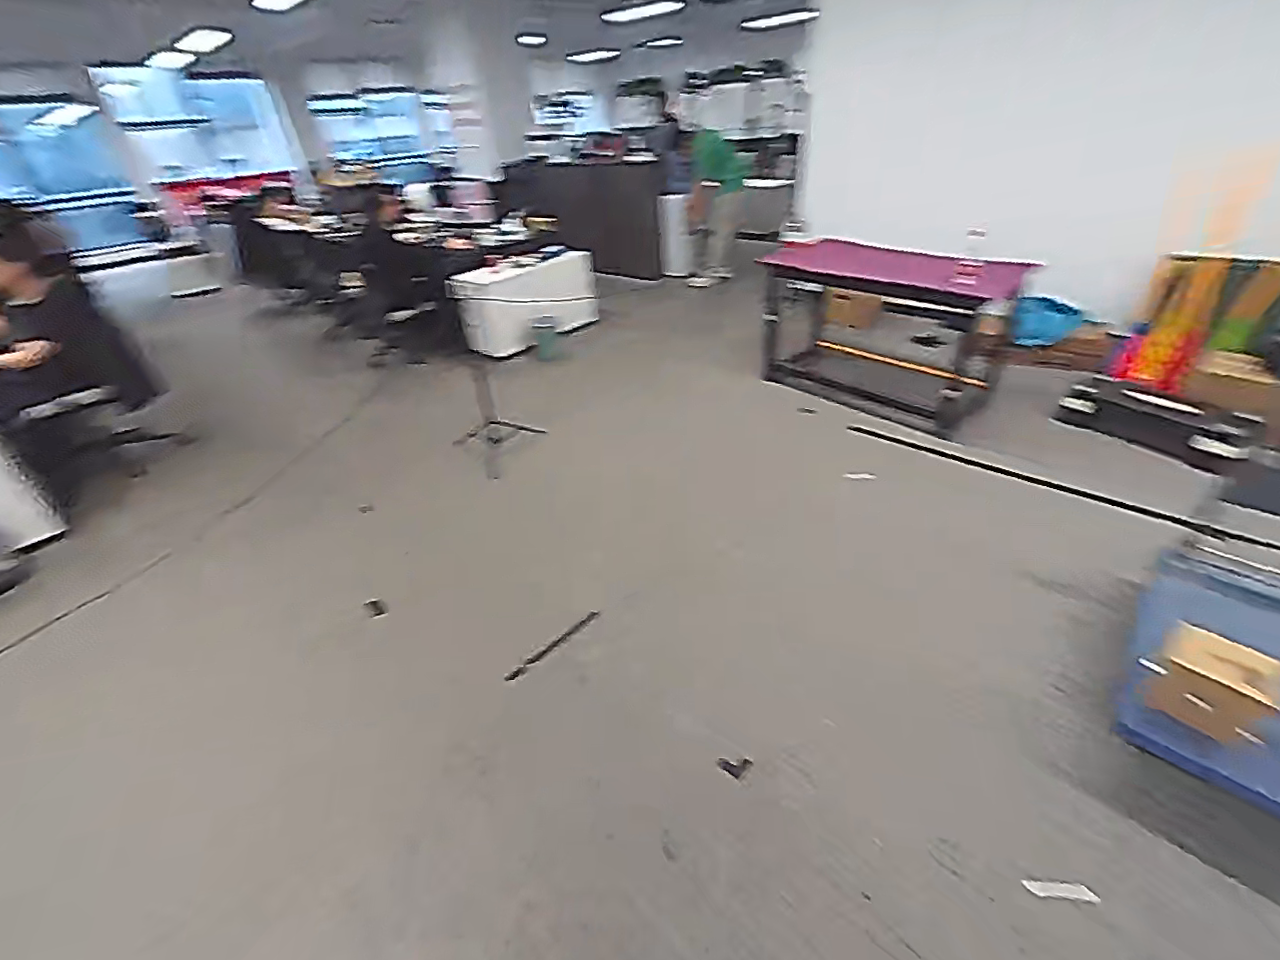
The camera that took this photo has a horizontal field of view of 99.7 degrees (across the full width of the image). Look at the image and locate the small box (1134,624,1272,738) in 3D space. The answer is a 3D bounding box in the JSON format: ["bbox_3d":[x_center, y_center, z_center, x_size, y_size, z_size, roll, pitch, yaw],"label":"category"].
[{"bbox_3d":[1.376,0.498,1.328,0.168,0.176,0.179,-30,41,-32],"label":"small box"}]
